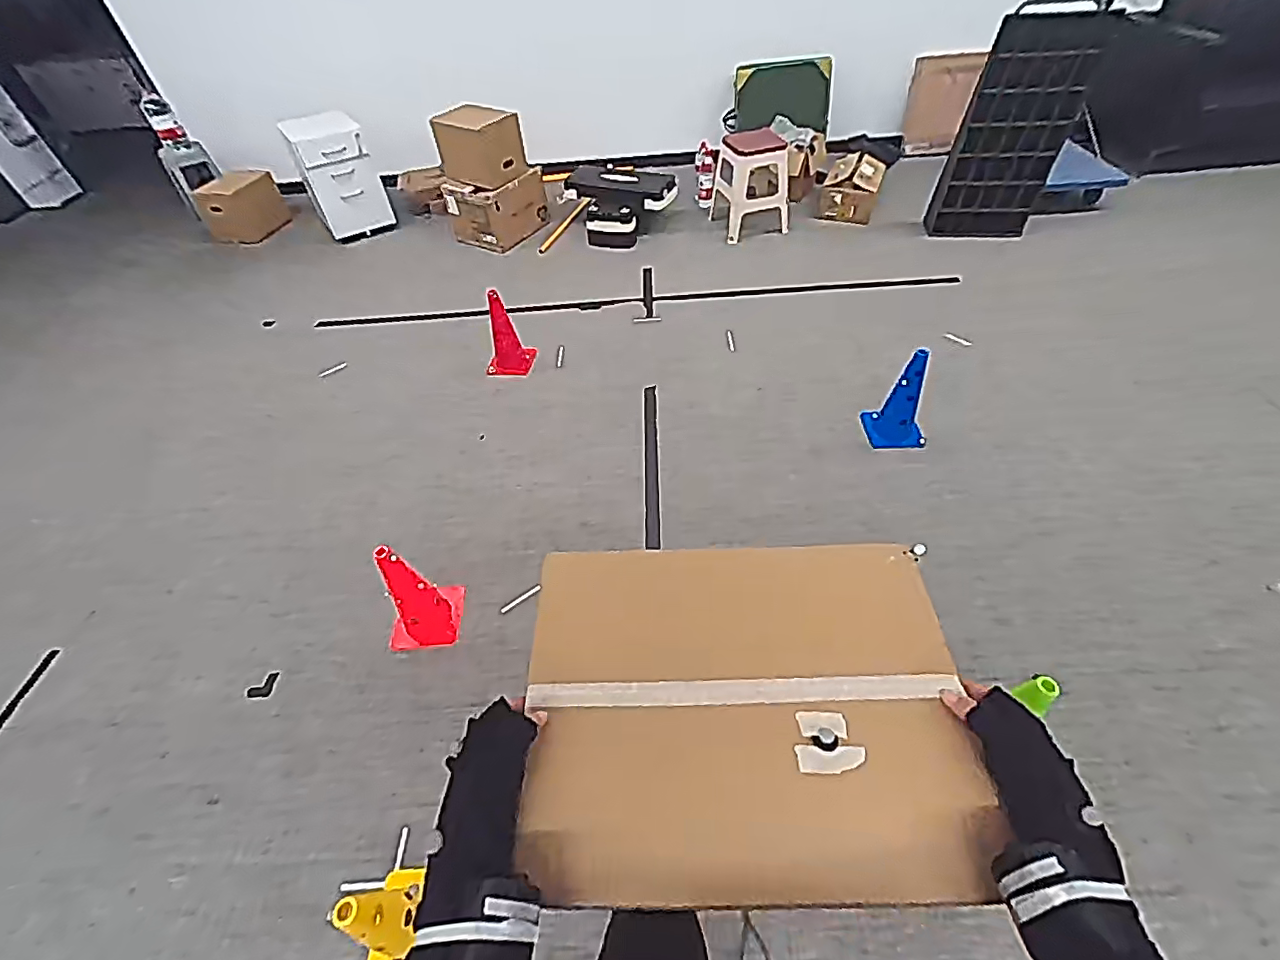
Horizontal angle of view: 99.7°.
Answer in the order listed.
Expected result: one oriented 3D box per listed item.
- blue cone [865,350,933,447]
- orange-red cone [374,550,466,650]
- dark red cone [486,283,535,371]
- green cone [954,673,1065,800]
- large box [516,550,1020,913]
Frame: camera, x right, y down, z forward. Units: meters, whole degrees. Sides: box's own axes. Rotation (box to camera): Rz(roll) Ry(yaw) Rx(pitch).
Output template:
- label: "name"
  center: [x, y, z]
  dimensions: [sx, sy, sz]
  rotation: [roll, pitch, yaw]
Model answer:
- label: "blue cone"
  center: [0.969, -0.303, 1.960]
  dimensions: [0.192, 0.380, 0.193]
  rotation: [0, 48, 4]
- label: "orange-red cone"
  center: [-0.655, 0.313, 1.531]
  dimensions: [0.198, 0.360, 0.199]
  rotation: [-6, 49, 1]
- label: "dark red cone"
  center: [-0.605, -0.673, 2.378]
  dimensions: [0.201, 0.394, 0.202]
  rotation: [2, 49, 5]
- label: "green cone"
  center: [0.831, 0.528, 1.204]
  dimensions: [0.202, 0.368, 0.200]
  rotation: [-31, 54, -23]
- label: "large box"
  center: [0.100, 0.298, 0.628]
  dimensions: [0.408, 0.320, 0.320]
  rotation: [-2, 52, 1]
